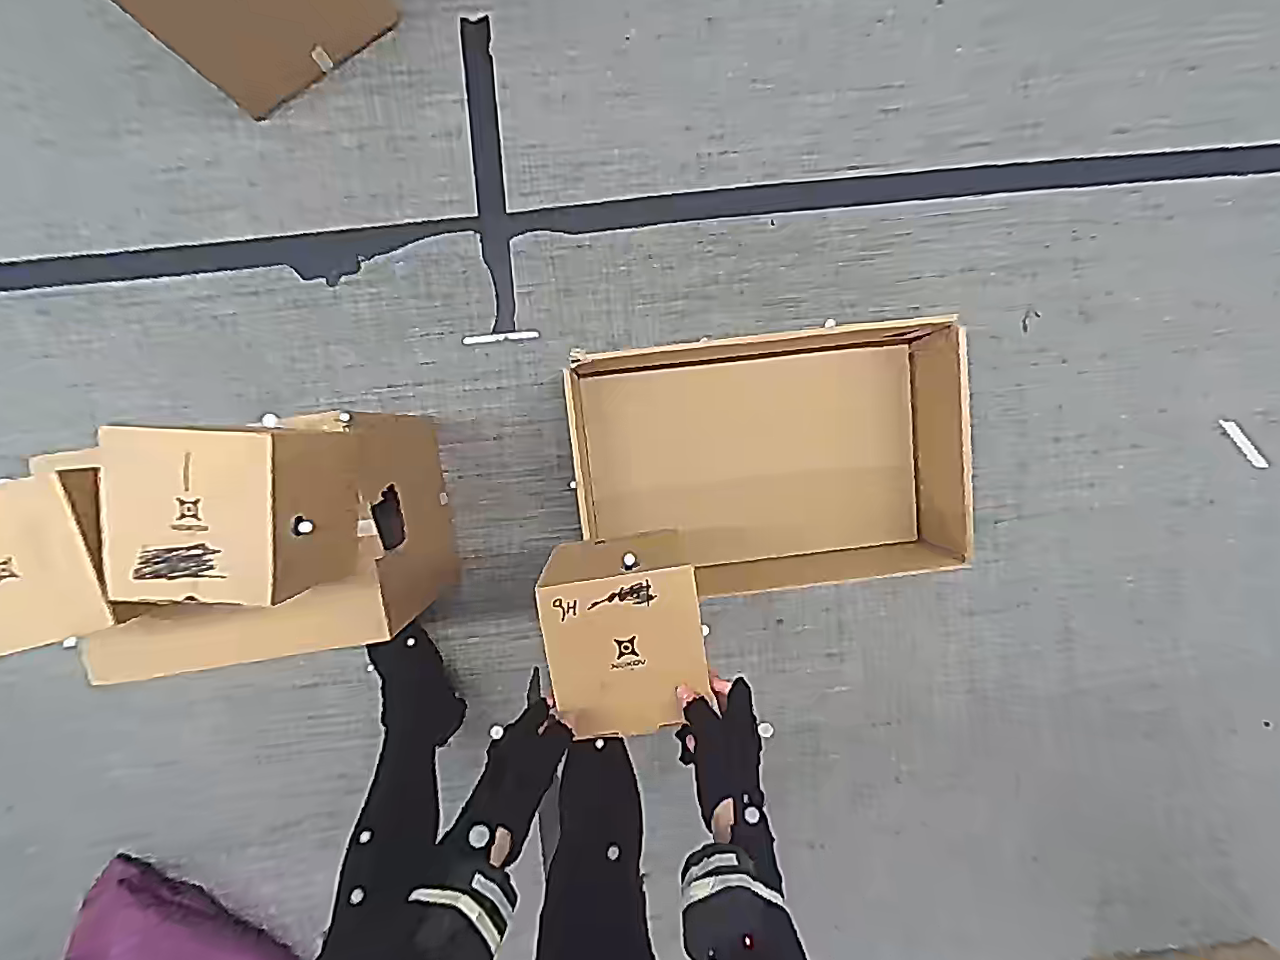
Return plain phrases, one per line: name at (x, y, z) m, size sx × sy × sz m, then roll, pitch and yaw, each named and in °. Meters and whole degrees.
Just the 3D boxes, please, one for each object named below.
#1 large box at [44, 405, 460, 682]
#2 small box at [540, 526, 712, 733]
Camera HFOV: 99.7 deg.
large box at (-0.552, 0.074, 0.857) m, size 0.408 × 0.320 × 0.320 m, roll -10°, pitch 97°, yaw -2°
small box at (-0.013, 0.167, 0.649) m, size 0.168 × 0.176 × 0.179 m, roll -8°, pitch 99°, yaw 0°
